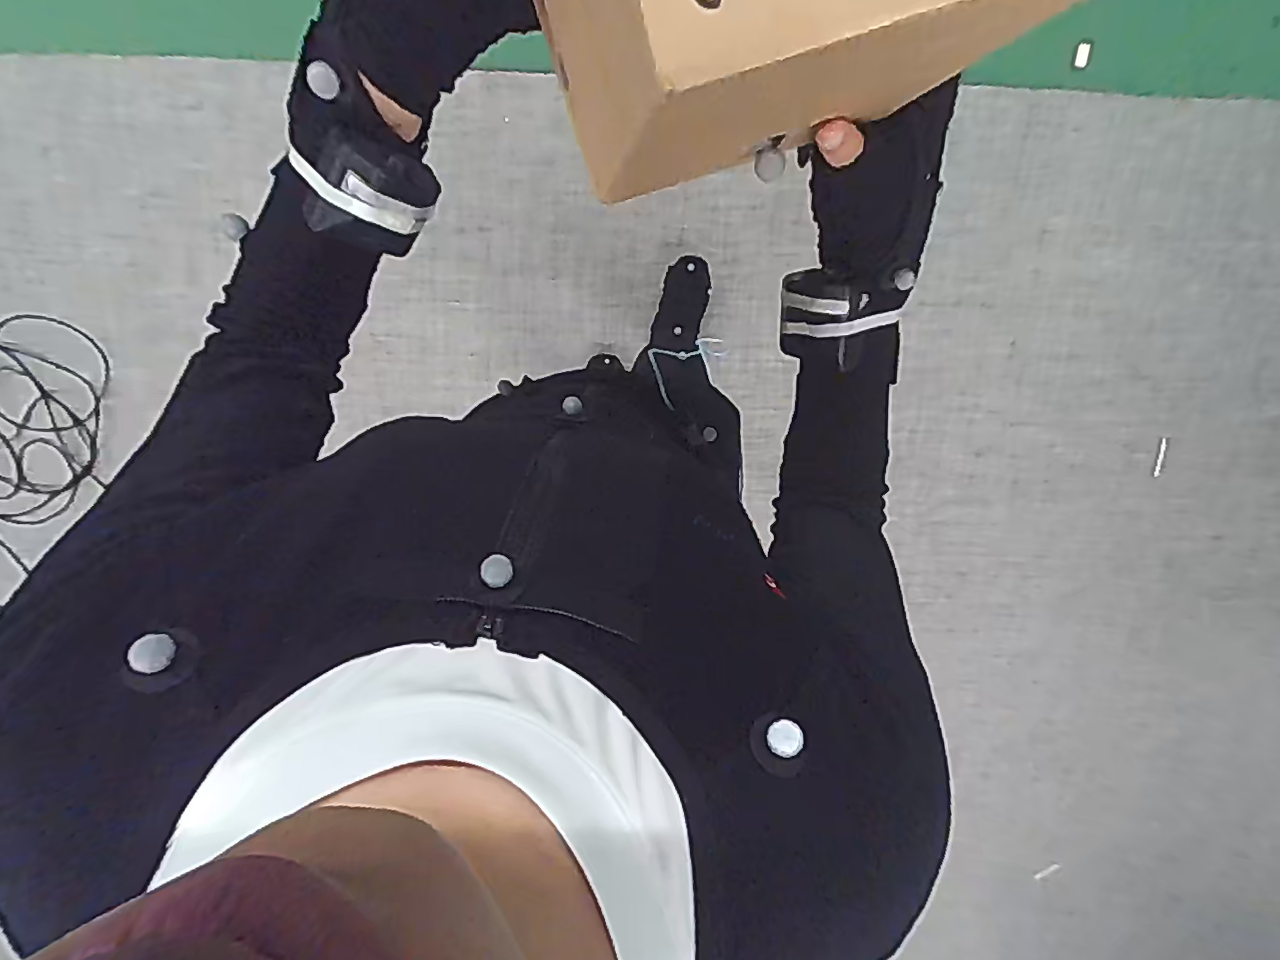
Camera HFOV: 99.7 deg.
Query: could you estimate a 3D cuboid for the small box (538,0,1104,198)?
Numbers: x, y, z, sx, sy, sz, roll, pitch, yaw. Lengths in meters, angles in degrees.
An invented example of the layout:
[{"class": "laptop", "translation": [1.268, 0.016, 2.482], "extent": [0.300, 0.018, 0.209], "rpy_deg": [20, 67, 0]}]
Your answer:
[{"class": "small box", "translation": [0.051, -0.233, 0.210], "extent": [0.179, 0.176, 0.168], "rpy_deg": [-20, 109, -6]}]
